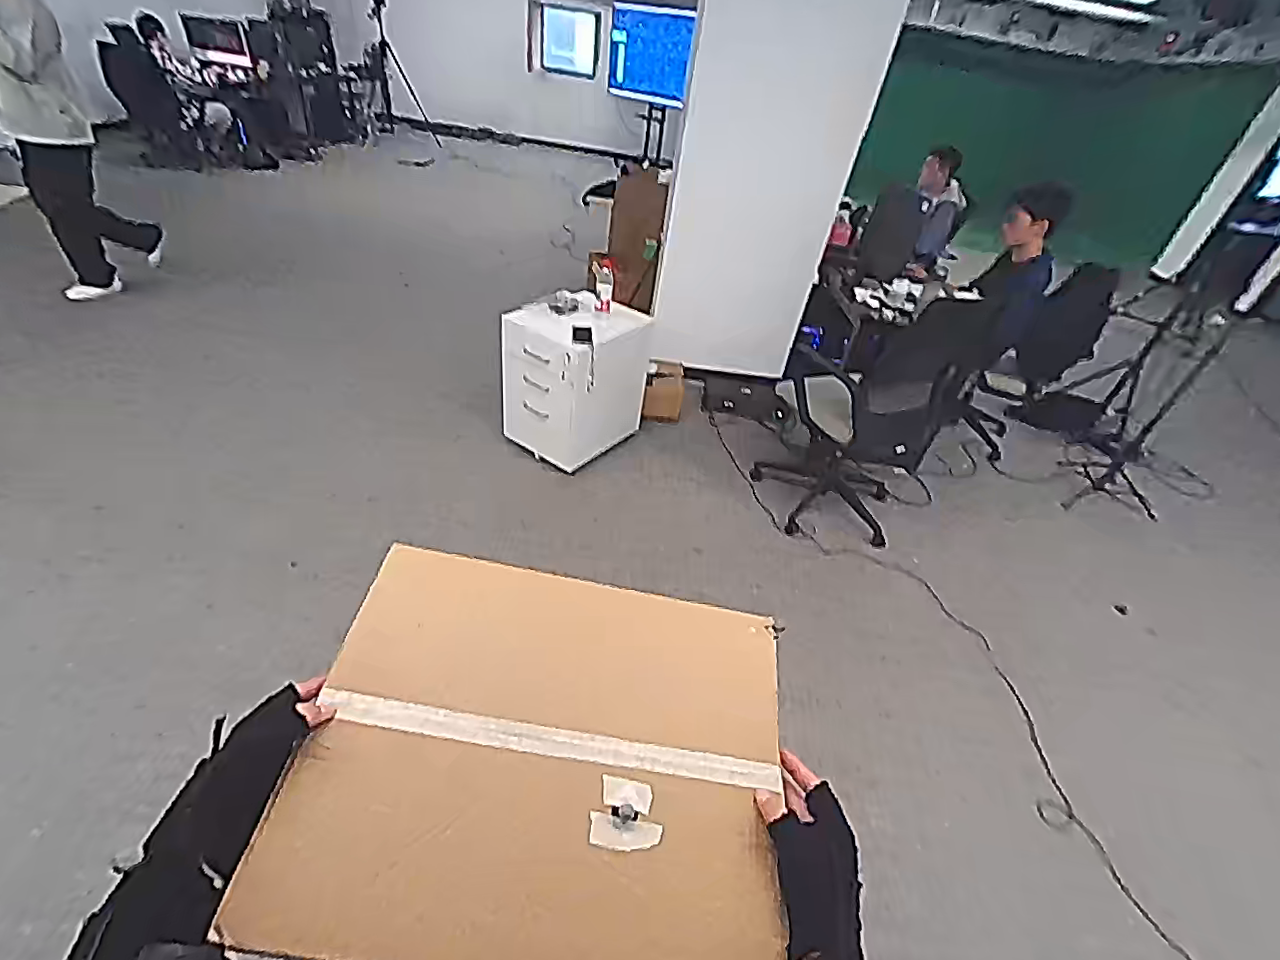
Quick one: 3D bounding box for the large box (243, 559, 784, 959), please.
[{"bbox_3d":[-0.100,0.324,0.598,0.408,0.320,0.320,12,51,-5],"label":"large box"}]
